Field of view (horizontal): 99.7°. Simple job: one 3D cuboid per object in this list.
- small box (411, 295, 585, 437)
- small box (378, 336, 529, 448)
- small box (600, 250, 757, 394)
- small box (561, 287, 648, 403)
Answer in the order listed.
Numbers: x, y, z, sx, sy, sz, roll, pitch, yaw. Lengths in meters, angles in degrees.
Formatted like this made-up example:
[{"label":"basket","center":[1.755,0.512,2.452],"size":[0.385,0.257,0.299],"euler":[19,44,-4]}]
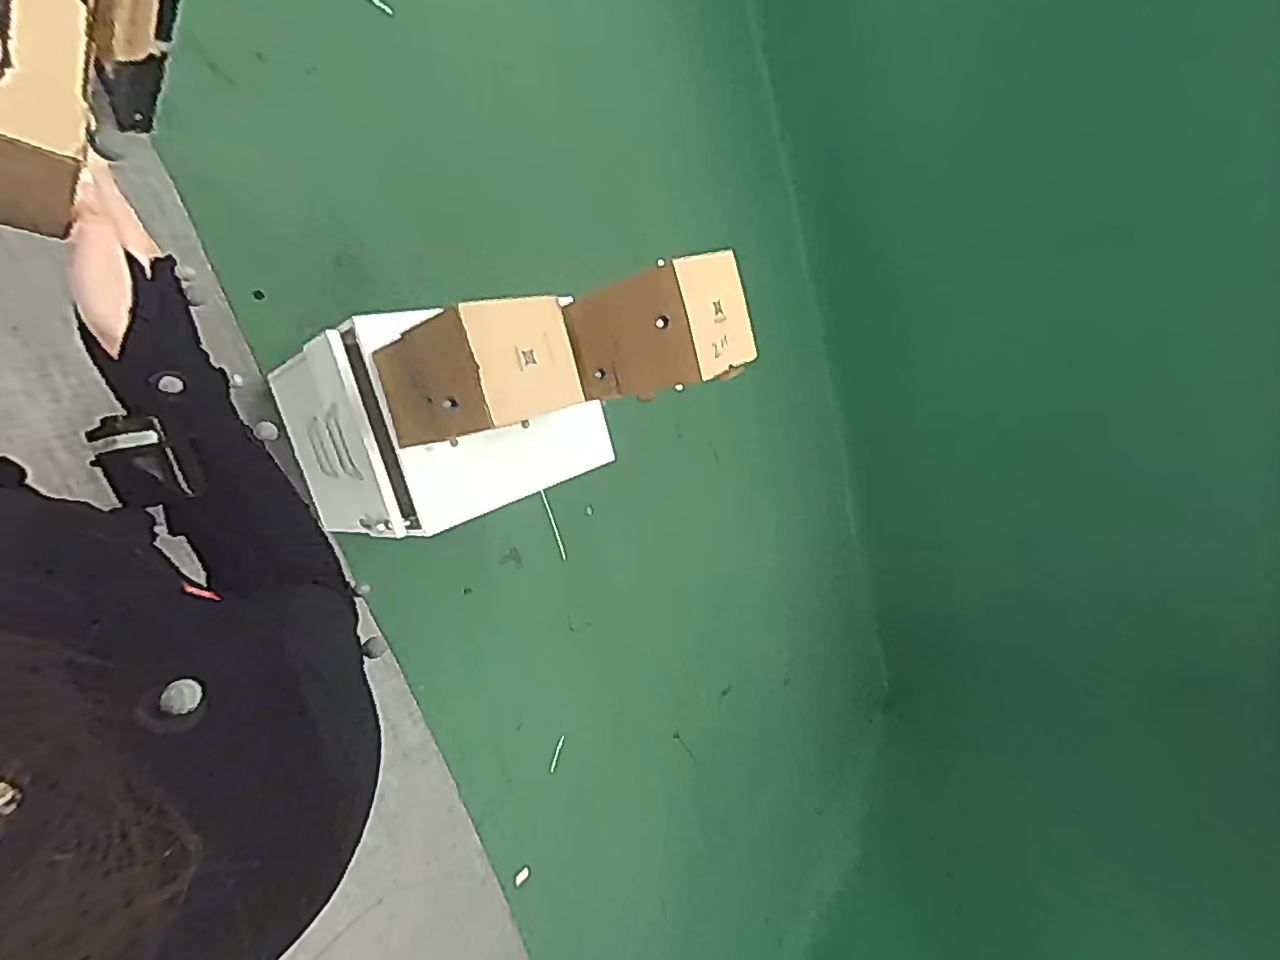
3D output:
[{"label":"small box","center":[-0.216,-0.167,0.806],"size":[0.179,0.176,0.168],"euler":[-27,108,-46]},{"label":"small box","center":[-0.322,-0.160,0.929],"size":[0.168,0.176,0.179],"euler":[-22,104,-46]},{"label":"small box","center":[0.060,-0.249,0.869],"size":[0.168,0.176,0.179],"euler":[-30,111,-43]},{"label":"small box","center":[-0.055,-0.240,0.985],"size":[0.168,0.176,0.179],"euler":[-21,104,-46]}]
